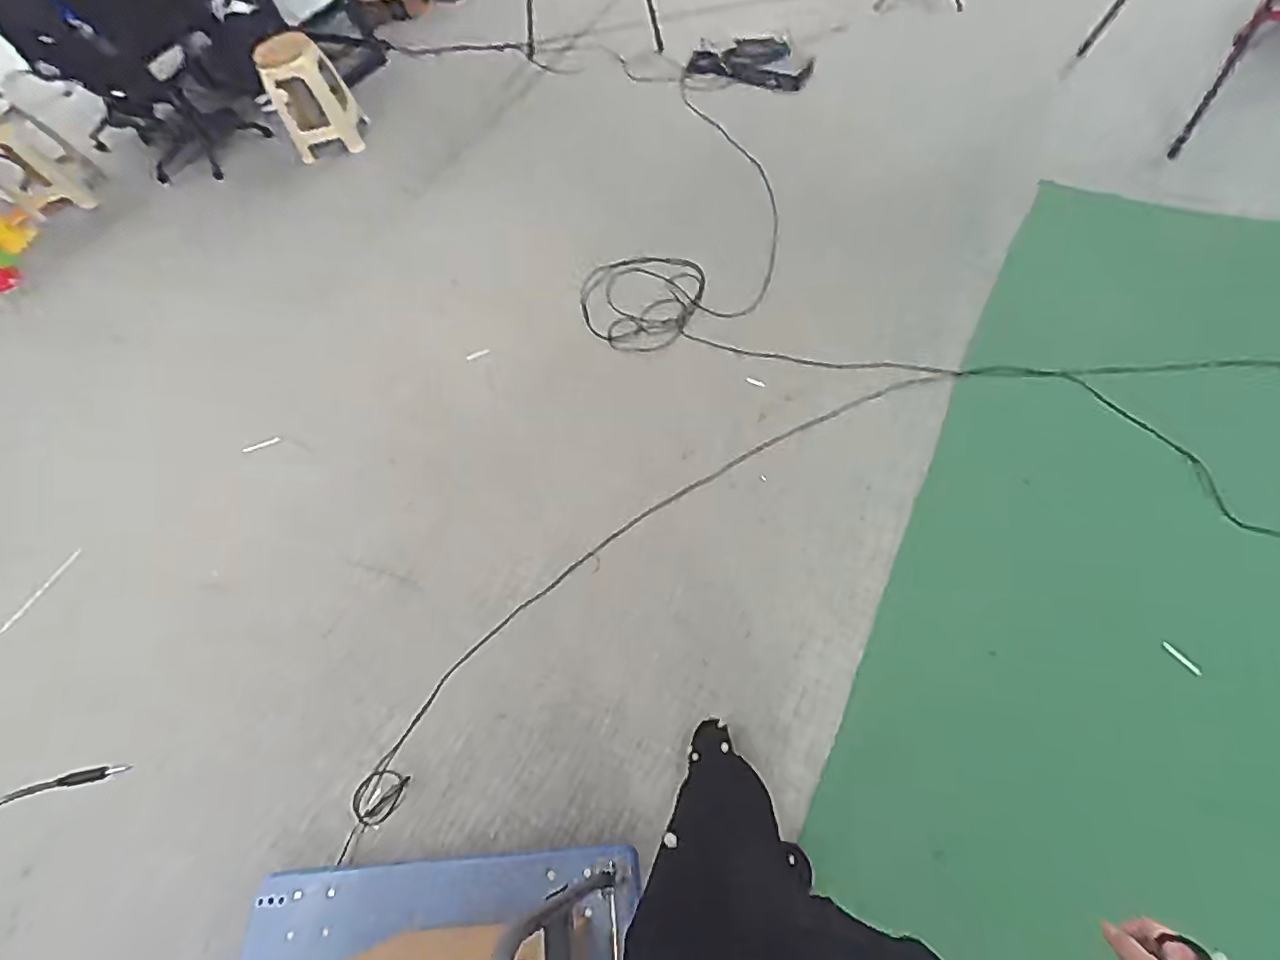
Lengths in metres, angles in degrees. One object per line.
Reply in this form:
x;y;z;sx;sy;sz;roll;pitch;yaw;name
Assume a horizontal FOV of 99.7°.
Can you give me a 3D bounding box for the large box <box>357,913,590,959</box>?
-0.304;0.988;0.927;0.408;0.320;0.320;-9;61;5;large box
